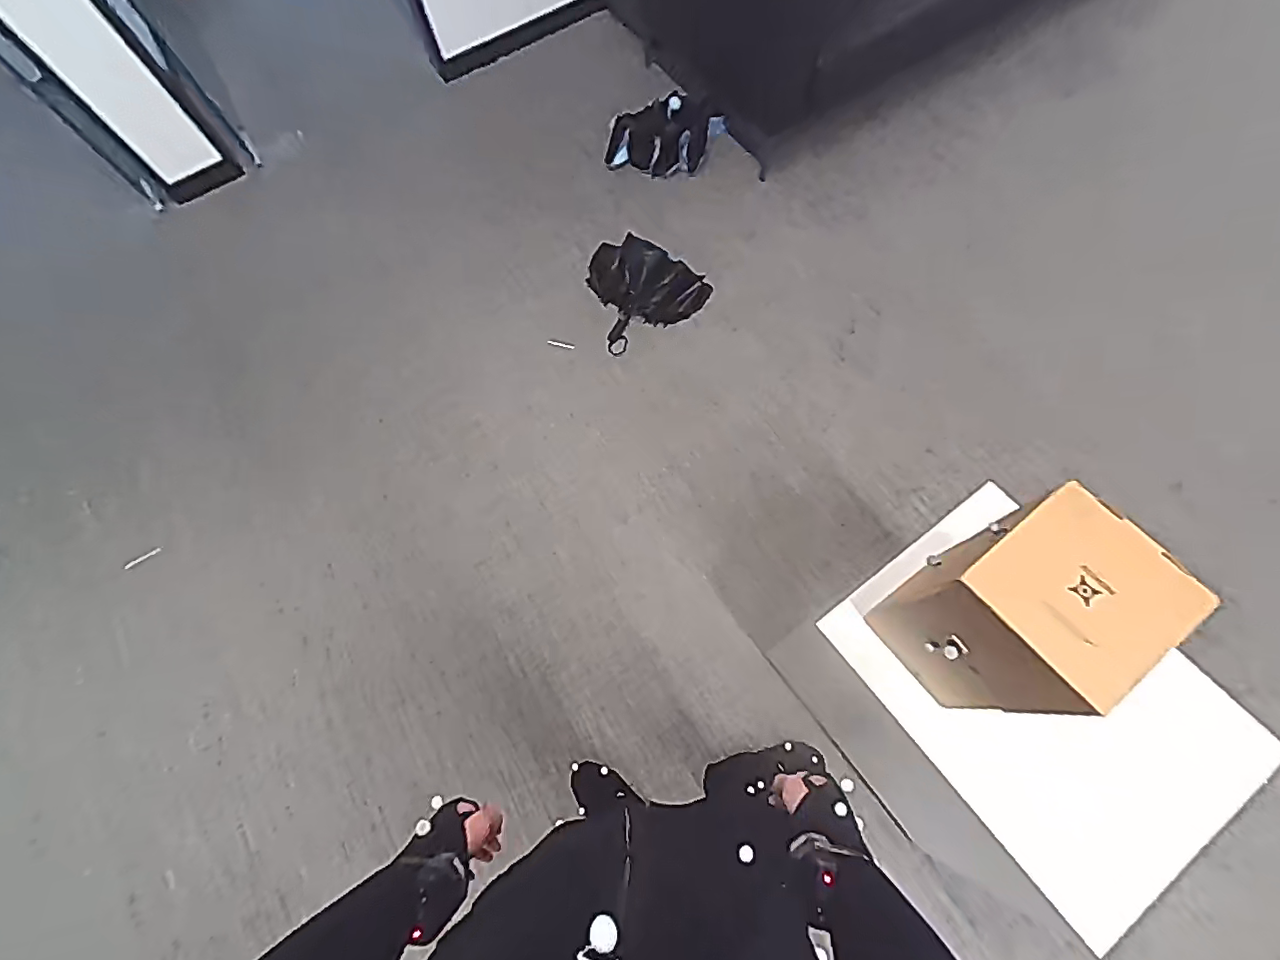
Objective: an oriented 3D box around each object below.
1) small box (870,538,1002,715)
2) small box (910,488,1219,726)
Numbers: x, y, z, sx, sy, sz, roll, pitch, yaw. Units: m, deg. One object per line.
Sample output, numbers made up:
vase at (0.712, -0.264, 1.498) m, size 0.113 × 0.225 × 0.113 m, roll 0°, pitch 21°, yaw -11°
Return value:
small box at (0.458, 0.200, 0.752) m, size 0.179 × 0.176 × 0.168 m, roll -35°, pitch 69°, yaw -10°
small box at (0.442, 0.143, 0.600) m, size 0.179 × 0.176 × 0.168 m, roll -37°, pitch 69°, yaw -9°
